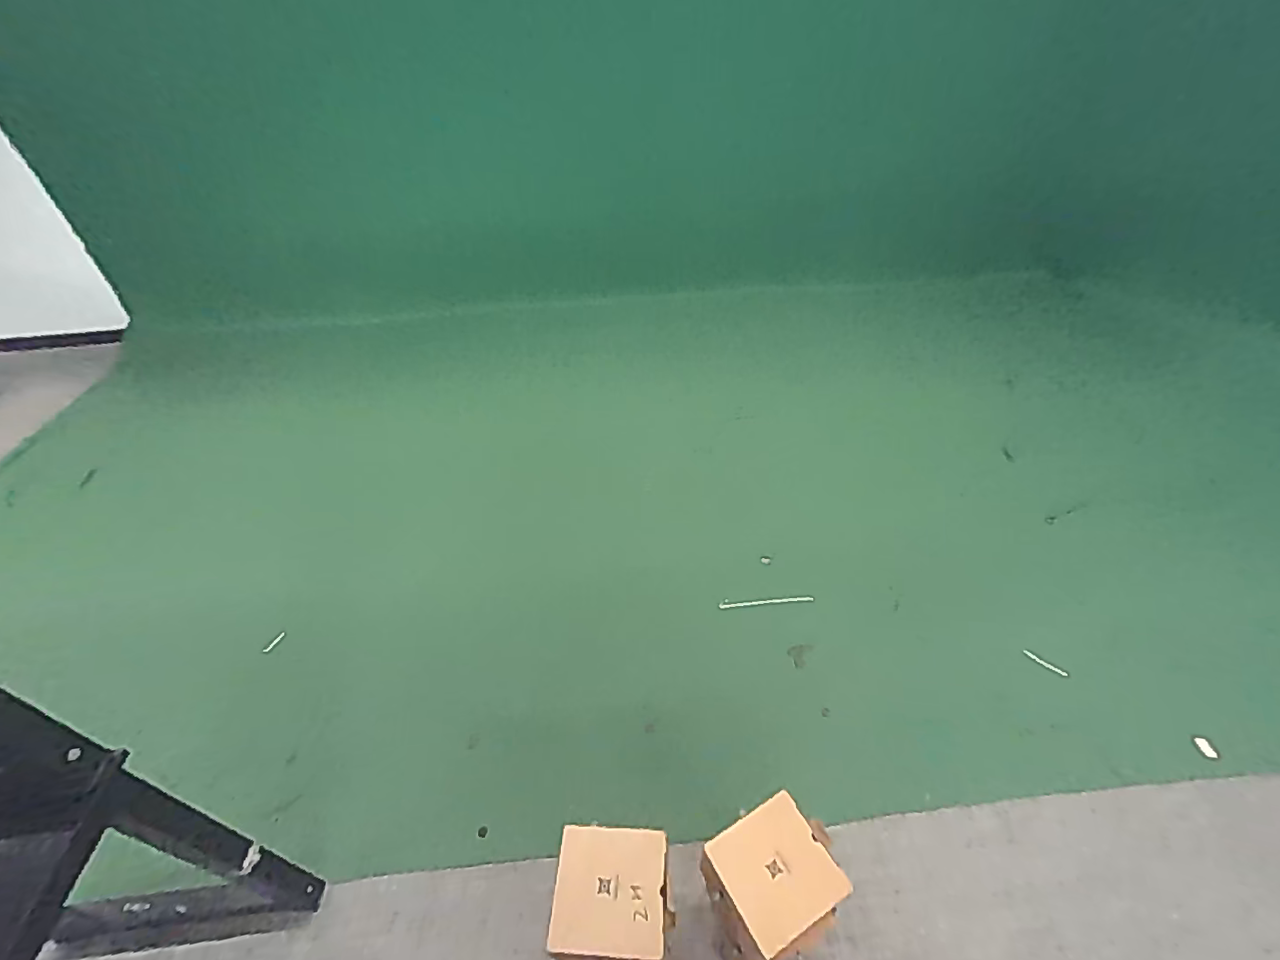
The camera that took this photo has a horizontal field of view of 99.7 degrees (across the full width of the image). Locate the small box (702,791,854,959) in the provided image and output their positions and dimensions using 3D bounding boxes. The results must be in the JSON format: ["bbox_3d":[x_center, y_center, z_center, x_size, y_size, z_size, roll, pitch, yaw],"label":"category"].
[{"bbox_3d":[0.219,0.669,0.900,0.179,0.176,0.168,-22,47,-21],"label":"small box"}]

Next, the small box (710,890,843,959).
[{"bbox_3d":[0.241,0.791,1.007,0.179,0.176,0.168,-19,46,-17],"label":"small box"}]

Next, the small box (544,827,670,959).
[{"bbox_3d":[-0.043,0.692,0.884,0.179,0.176,0.168,0,42,5],"label":"small box"}]
